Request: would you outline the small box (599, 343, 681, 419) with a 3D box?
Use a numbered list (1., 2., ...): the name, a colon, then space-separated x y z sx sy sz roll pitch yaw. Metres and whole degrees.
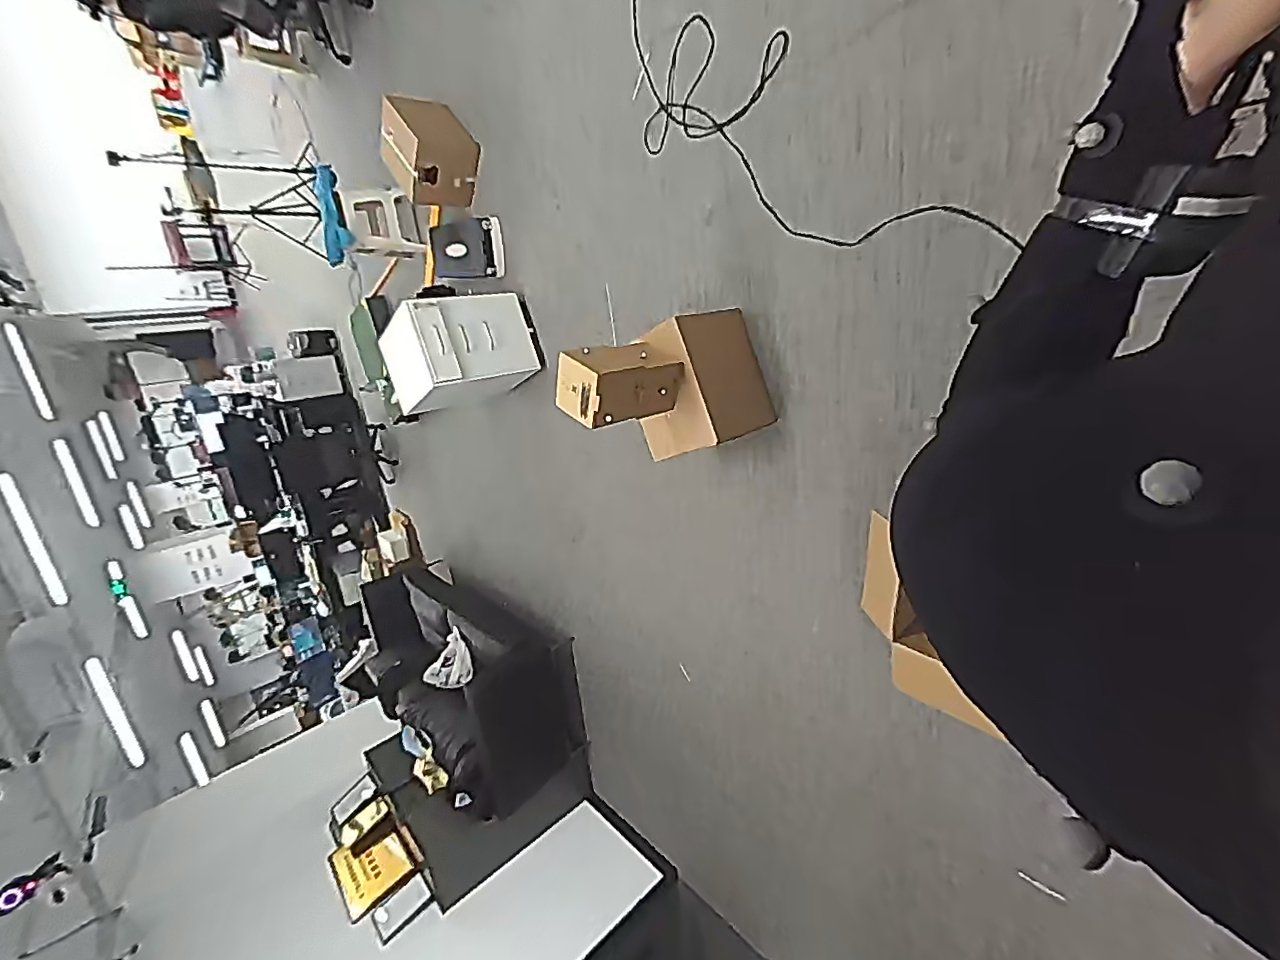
1. small box: 0.001 -0.310 1.653 0.179 0.176 0.168 34 130 33
